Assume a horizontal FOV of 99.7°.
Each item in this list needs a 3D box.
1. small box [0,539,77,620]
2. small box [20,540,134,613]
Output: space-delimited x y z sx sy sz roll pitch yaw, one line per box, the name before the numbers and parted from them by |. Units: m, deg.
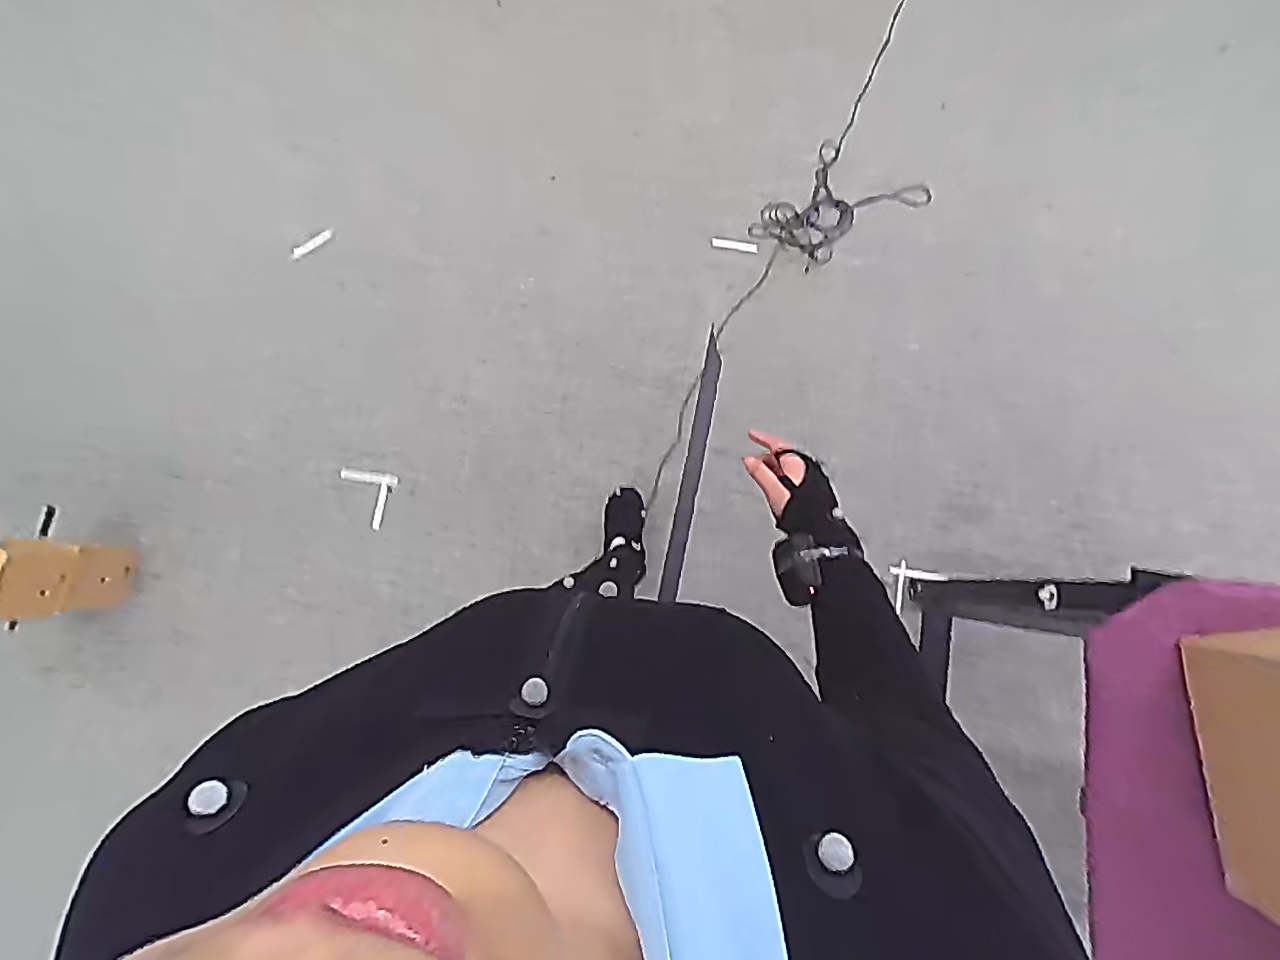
small box | -1.558 0.241 1.313 0.179 0.176 0.168 15 82 5
small box | -1.553 0.261 1.475 0.179 0.176 0.168 8 80 5
